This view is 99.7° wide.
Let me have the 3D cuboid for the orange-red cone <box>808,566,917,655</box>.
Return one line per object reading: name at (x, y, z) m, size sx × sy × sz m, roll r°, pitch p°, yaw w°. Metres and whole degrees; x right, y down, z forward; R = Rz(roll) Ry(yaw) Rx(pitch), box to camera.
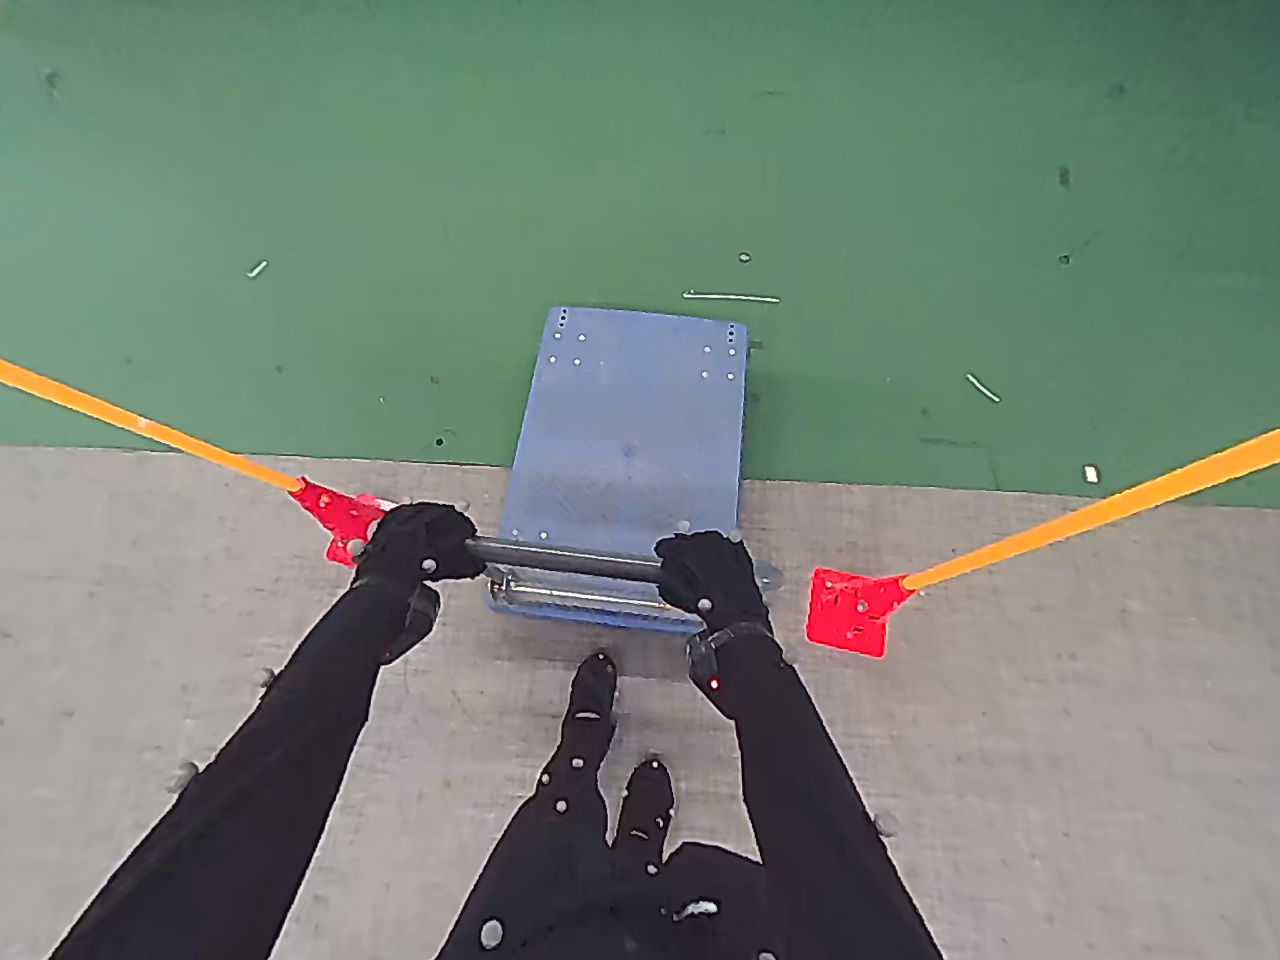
orange-red cone at (0.538, 0.268, 1.235) m, size 0.198 × 0.360 × 0.199 m, roll 13°, pitch 69°, yaw 6°
